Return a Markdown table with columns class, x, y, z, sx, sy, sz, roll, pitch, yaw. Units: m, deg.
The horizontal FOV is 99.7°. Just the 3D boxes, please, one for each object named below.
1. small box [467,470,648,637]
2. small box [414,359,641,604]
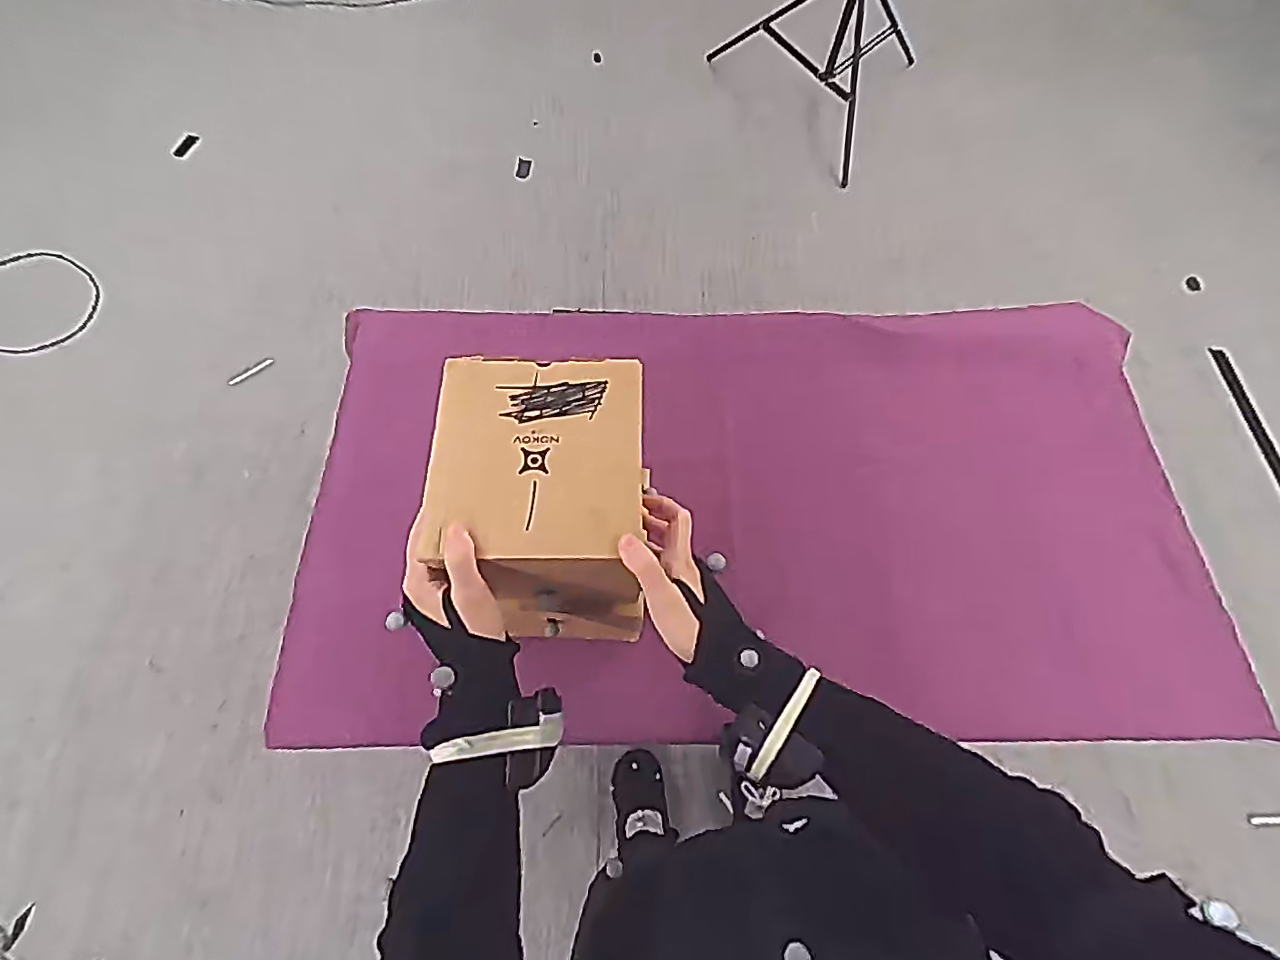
| class | x | y | z | sx | sy | sz | roll | pitch | yaw |
| --- | --- | --- | --- | --- | --- | --- | --- | --- | --- |
| small box | -0.084 | 0.090 | 0.643 | 0.179 | 0.176 | 0.168 | 3 | 66 | 0 |
| small box | -0.084 | 0.010 | 0.498 | 0.168 | 0.176 | 0.179 | 0 | 67 | -1 |
